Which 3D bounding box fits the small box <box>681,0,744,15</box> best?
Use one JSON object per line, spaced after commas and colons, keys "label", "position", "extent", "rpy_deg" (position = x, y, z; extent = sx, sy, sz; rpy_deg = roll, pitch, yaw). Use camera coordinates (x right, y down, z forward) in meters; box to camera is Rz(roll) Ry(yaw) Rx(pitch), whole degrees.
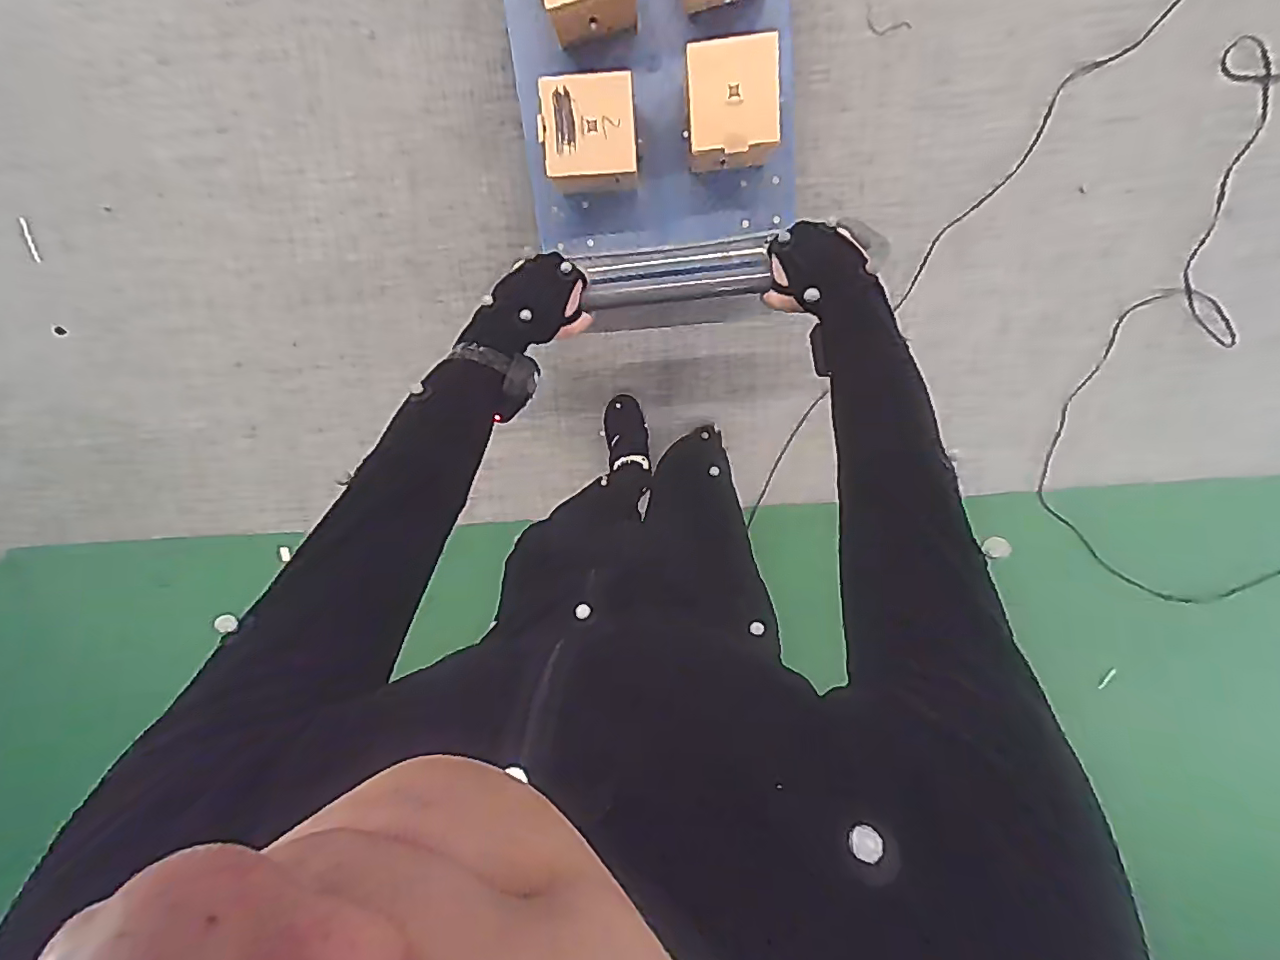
{"label": "small box", "position": [0.145, -1.002, 0.977], "extent": [0.168, 0.176, 0.179], "rpy_deg": [-12, 109, 6]}

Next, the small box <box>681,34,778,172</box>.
{"label": "small box", "position": [0.172, -0.732, 1.069], "extent": [0.168, 0.176, 0.179], "rpy_deg": [-5, 109, 4]}

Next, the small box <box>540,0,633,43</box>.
{"label": "small box", "position": [-0.110, -0.953, 1.001], "extent": [0.168, 0.176, 0.179], "rpy_deg": [-13, 108, 5]}
